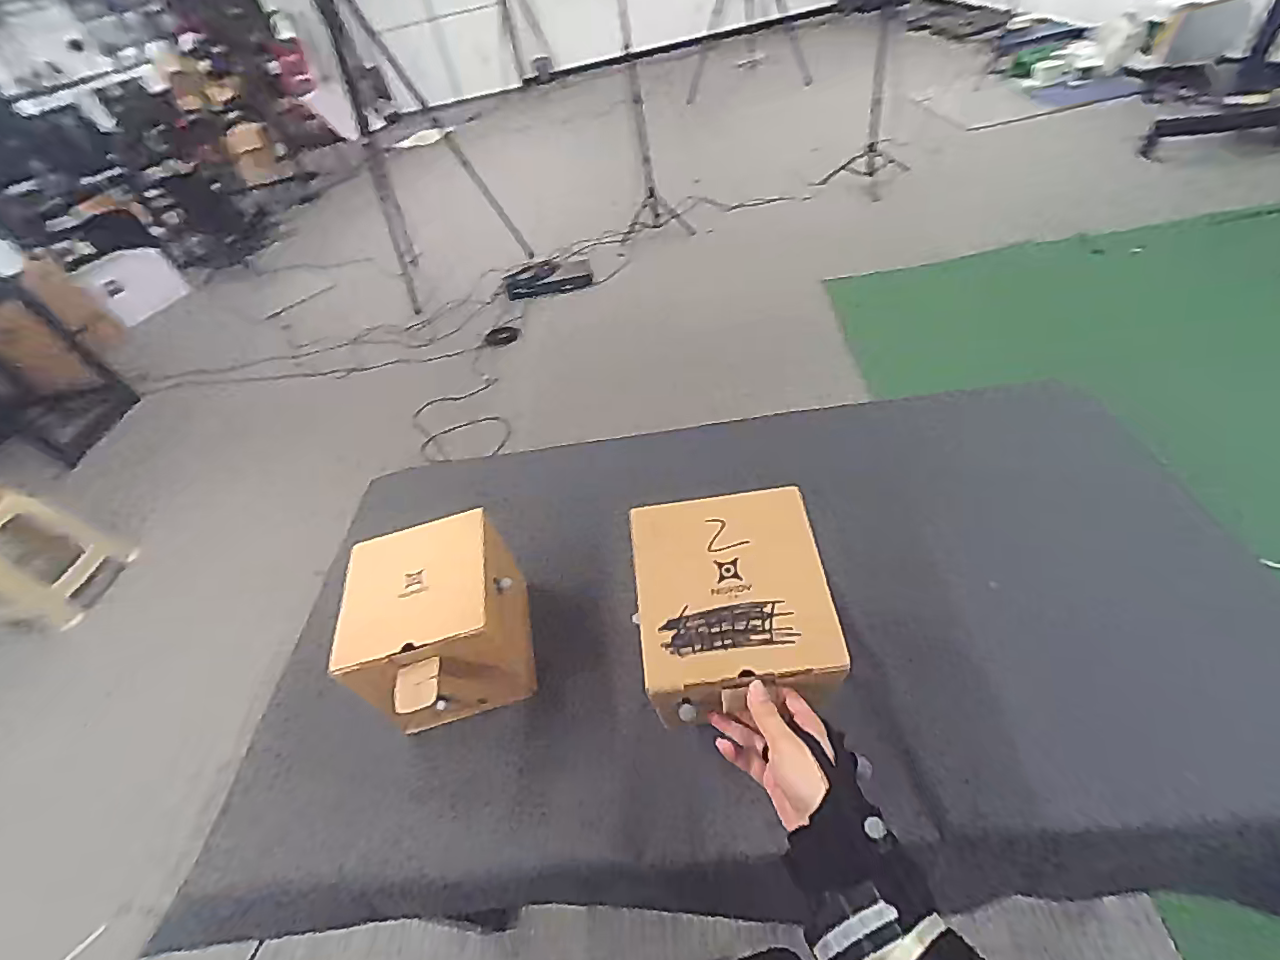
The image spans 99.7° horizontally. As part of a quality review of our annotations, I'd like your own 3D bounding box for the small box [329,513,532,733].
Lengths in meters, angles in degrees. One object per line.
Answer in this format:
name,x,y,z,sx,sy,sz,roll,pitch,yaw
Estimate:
small box,-0.239,0.175,0.659,0.168,0.176,0.179,-16,45,-3
